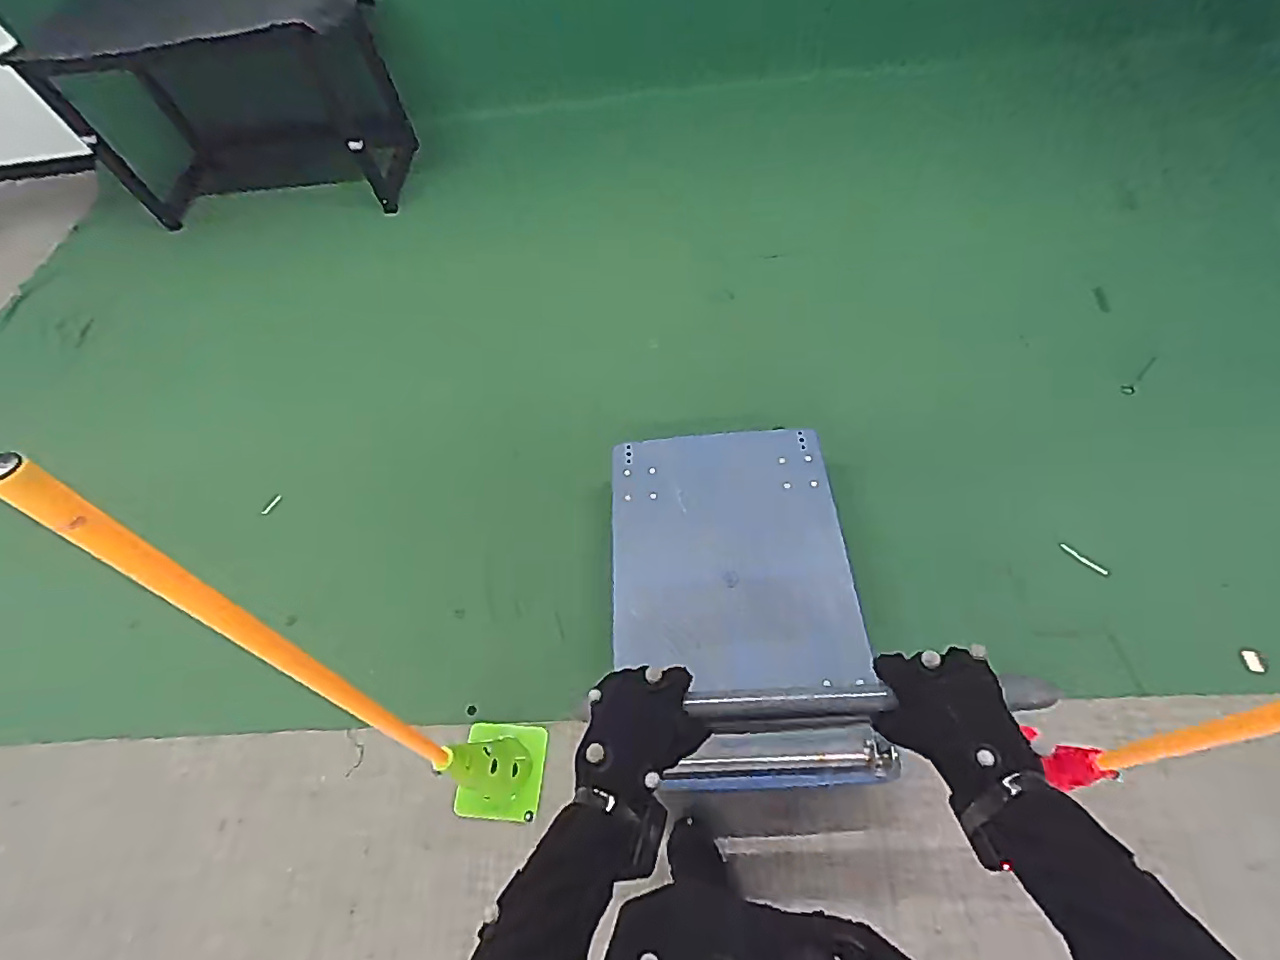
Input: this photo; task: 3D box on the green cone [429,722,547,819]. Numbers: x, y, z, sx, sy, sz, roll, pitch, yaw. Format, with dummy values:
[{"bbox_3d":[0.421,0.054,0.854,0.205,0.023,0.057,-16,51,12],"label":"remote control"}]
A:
[{"bbox_3d":[-0.351,0.604,1.159,0.202,0.368,0.200,0,58,7],"label":"green cone"}]
